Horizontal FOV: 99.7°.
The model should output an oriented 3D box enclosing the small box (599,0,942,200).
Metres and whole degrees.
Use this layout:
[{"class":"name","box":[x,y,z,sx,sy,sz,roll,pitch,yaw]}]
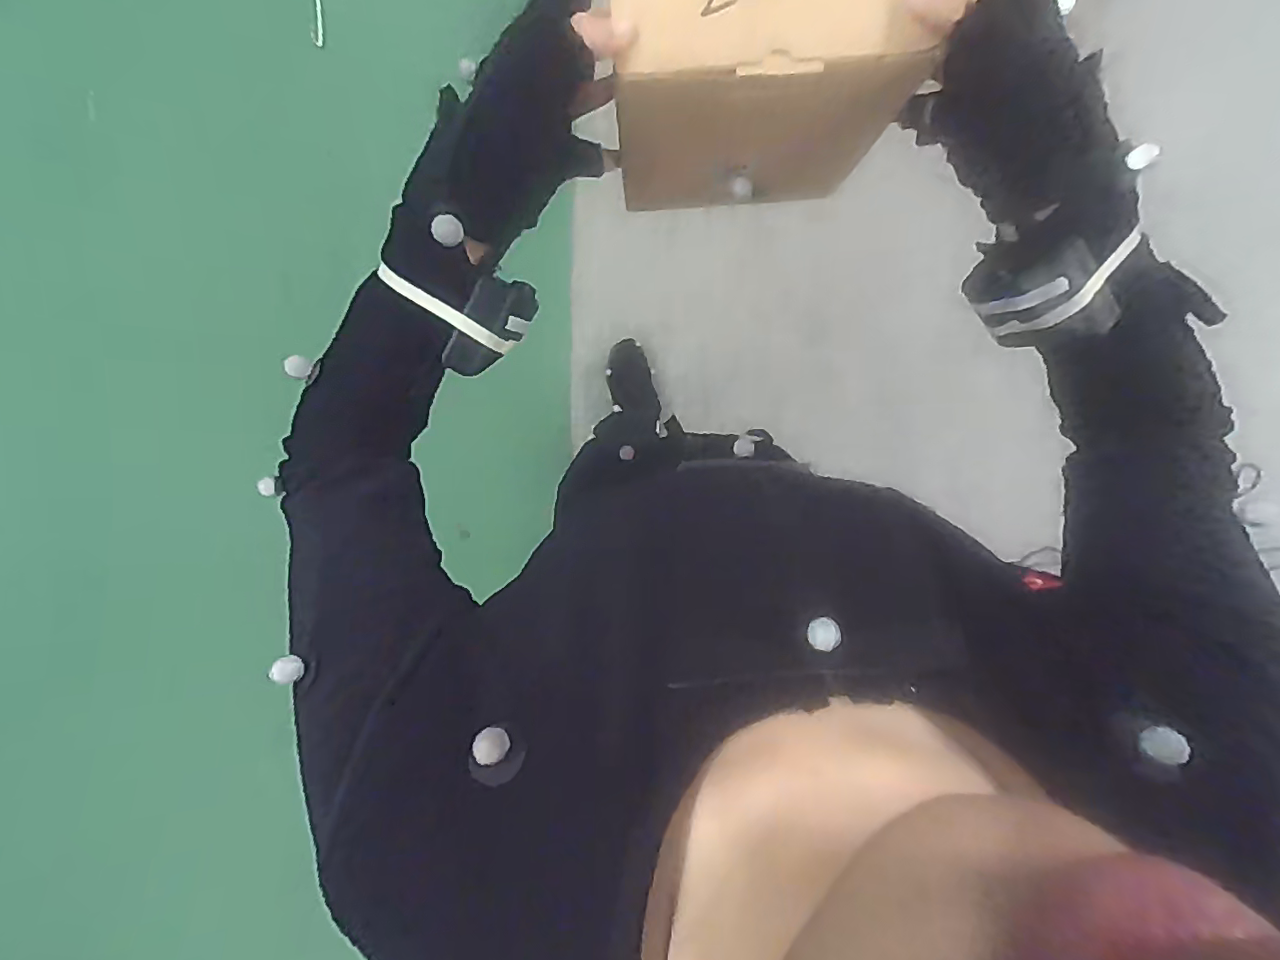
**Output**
[{"class":"small box","box":[0.060,-0.303,0.335,0.168,0.176,0.179,-3,94,2]}]
